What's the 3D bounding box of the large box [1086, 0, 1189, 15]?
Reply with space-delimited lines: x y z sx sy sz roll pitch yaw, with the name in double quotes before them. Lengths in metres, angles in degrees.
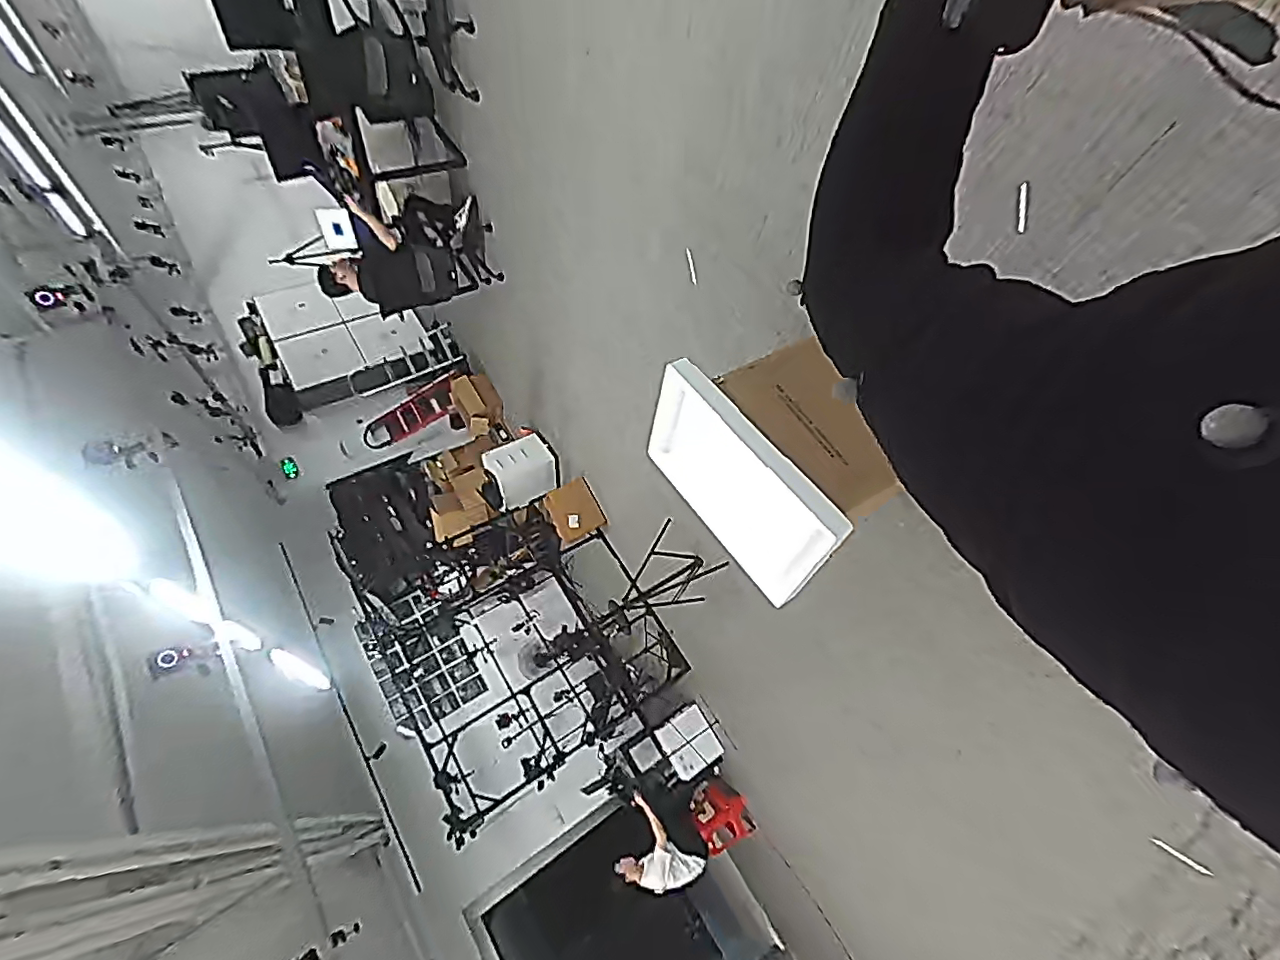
"large box" 0.462 -0.428 0.167 0.408 0.320 0.320 24 133 53
